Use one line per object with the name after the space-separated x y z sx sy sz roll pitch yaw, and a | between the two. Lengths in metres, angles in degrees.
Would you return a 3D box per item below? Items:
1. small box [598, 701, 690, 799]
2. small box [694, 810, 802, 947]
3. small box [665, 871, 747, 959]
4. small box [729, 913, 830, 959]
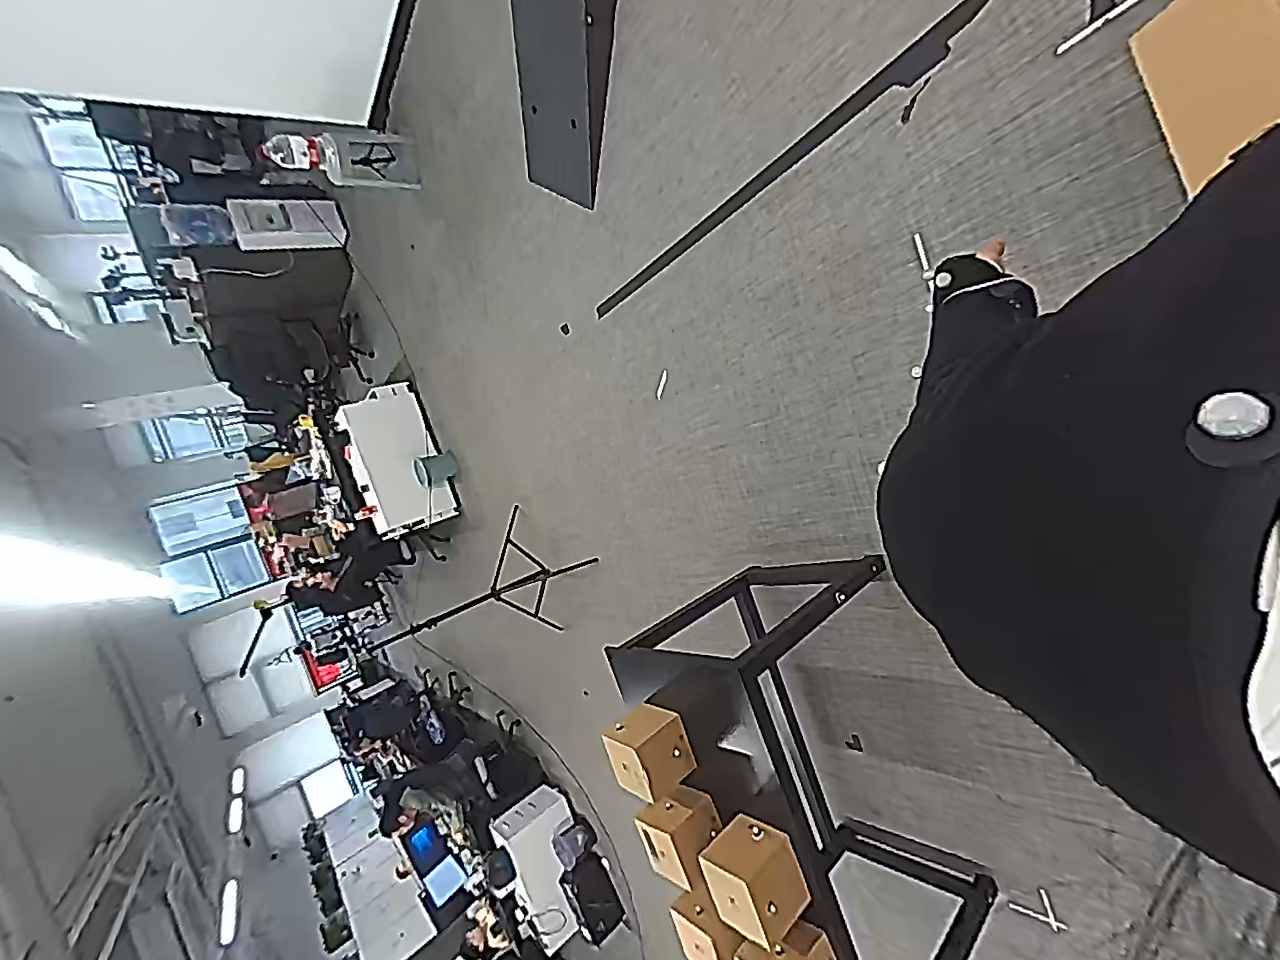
0.012 0.756 1.537 0.179 0.176 0.168 -13 97 53 | small box
0.267 0.961 1.321 0.168 0.176 0.179 -18 92 53 | small box
0.207 1.256 1.540 0.179 0.176 0.168 -15 95 53 | small box
0.358 1.201 1.322 0.179 0.176 0.168 -27 86 53 | small box
